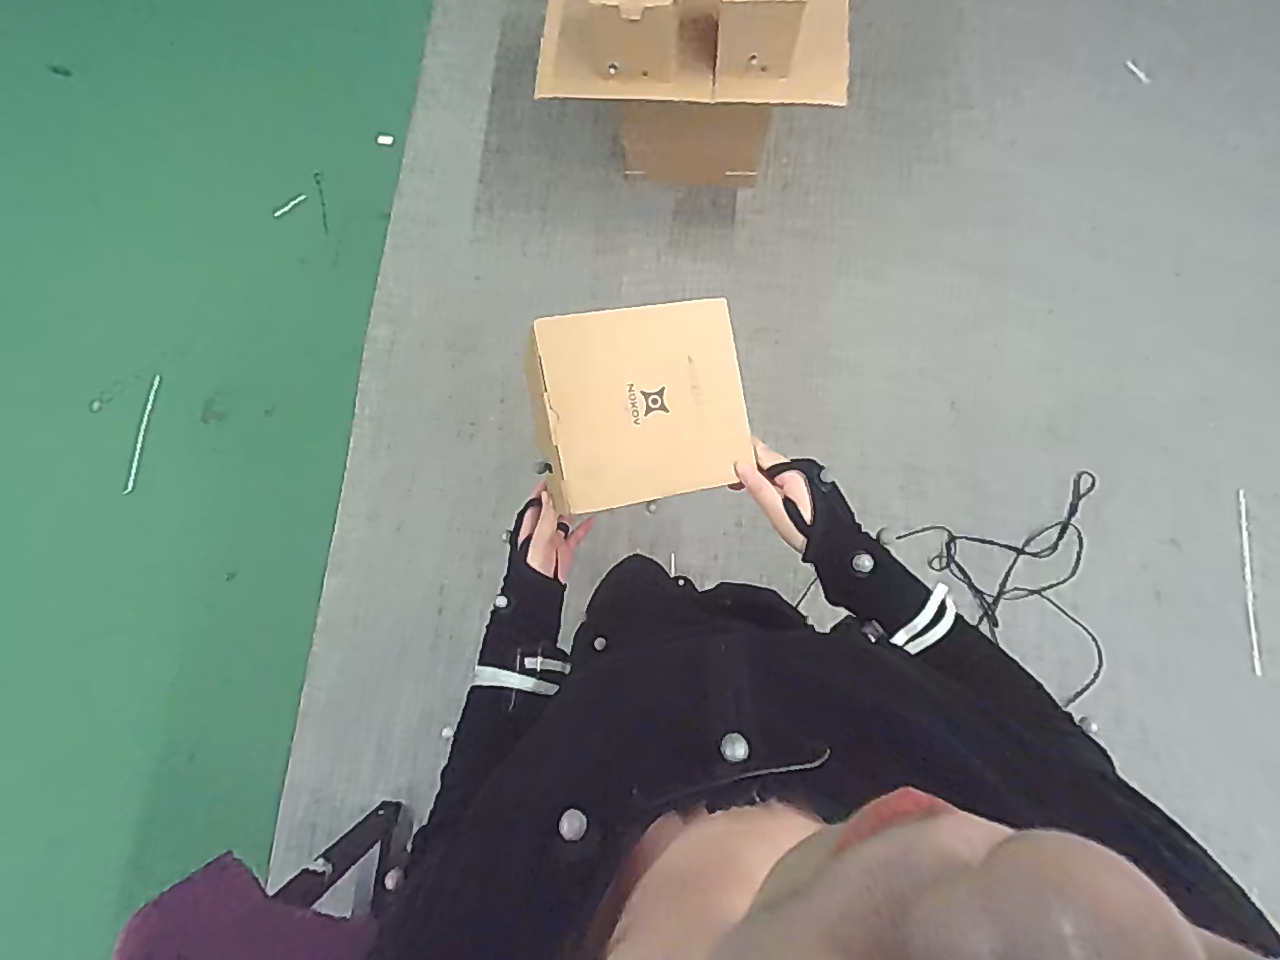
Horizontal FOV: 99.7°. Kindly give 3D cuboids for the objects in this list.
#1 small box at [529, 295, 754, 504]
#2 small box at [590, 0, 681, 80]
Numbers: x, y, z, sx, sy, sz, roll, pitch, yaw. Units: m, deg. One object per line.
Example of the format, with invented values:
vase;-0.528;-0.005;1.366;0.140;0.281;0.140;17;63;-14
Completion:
small box;-0.011;-0.069;0.538;0.179;0.176;0.168;-10;92;-13
small box;-0.002;-0.994;1.149;0.168;0.176;0.179;6;80;5
